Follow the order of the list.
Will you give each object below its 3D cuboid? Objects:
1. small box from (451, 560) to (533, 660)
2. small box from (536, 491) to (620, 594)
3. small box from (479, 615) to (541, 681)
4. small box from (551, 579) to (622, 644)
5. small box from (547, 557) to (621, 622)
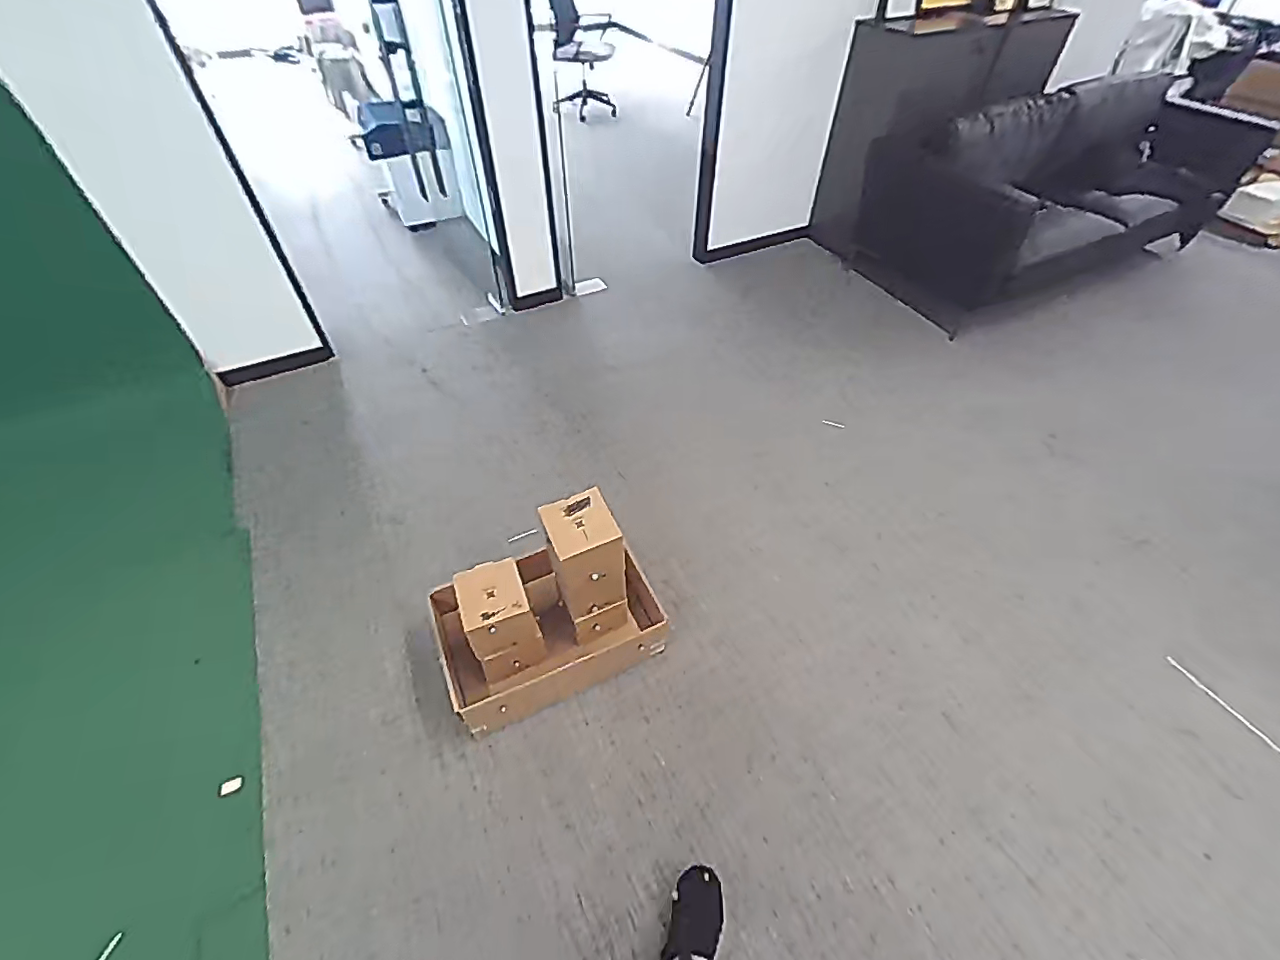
[{"bbox_3d":[-0.394,0.350,1.449,0.168,0.176,0.179,-17,50,-15],"label":"small box"},{"bbox_3d":[-0.159,0.165,1.408,0.168,0.176,0.179,-20,53,-16],"label":"small box"},{"bbox_3d":[-0.395,0.460,1.573,0.168,0.176,0.179,-19,52,-20],"label":"small box"},{"bbox_3d":[-0.160,0.378,1.656,0.168,0.176,0.179,-20,52,-18],"label":"small box"},{"bbox_3d":[-0.161,0.268,1.535,0.168,0.176,0.179,-19,52,-16],"label":"small box"}]
